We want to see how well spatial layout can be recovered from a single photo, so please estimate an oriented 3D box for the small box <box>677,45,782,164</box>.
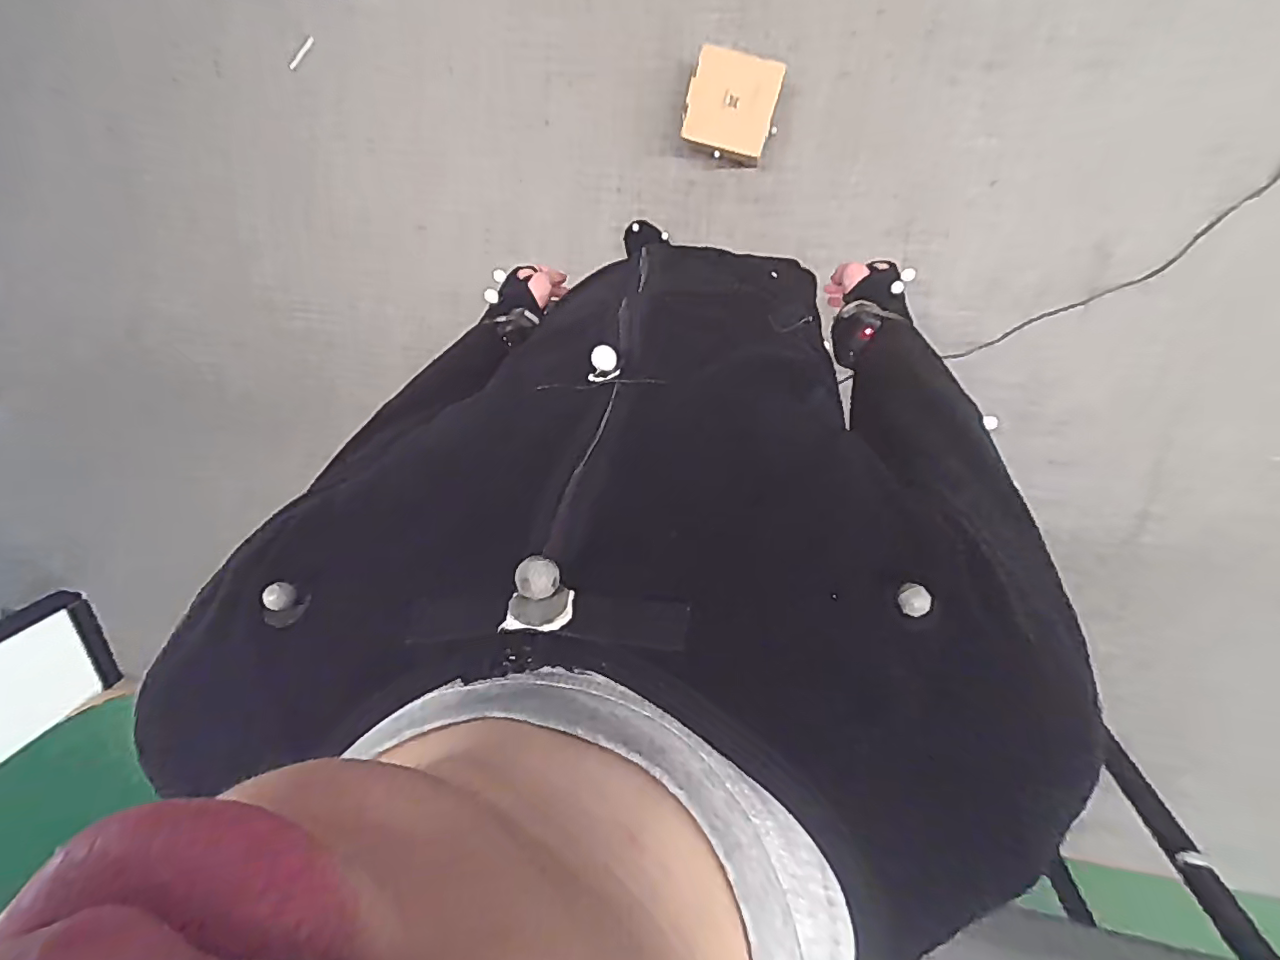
[{"bbox_3d":[0.193,-0.805,1.178,0.179,0.176,0.168,17,117,2],"label":"small box"}]
